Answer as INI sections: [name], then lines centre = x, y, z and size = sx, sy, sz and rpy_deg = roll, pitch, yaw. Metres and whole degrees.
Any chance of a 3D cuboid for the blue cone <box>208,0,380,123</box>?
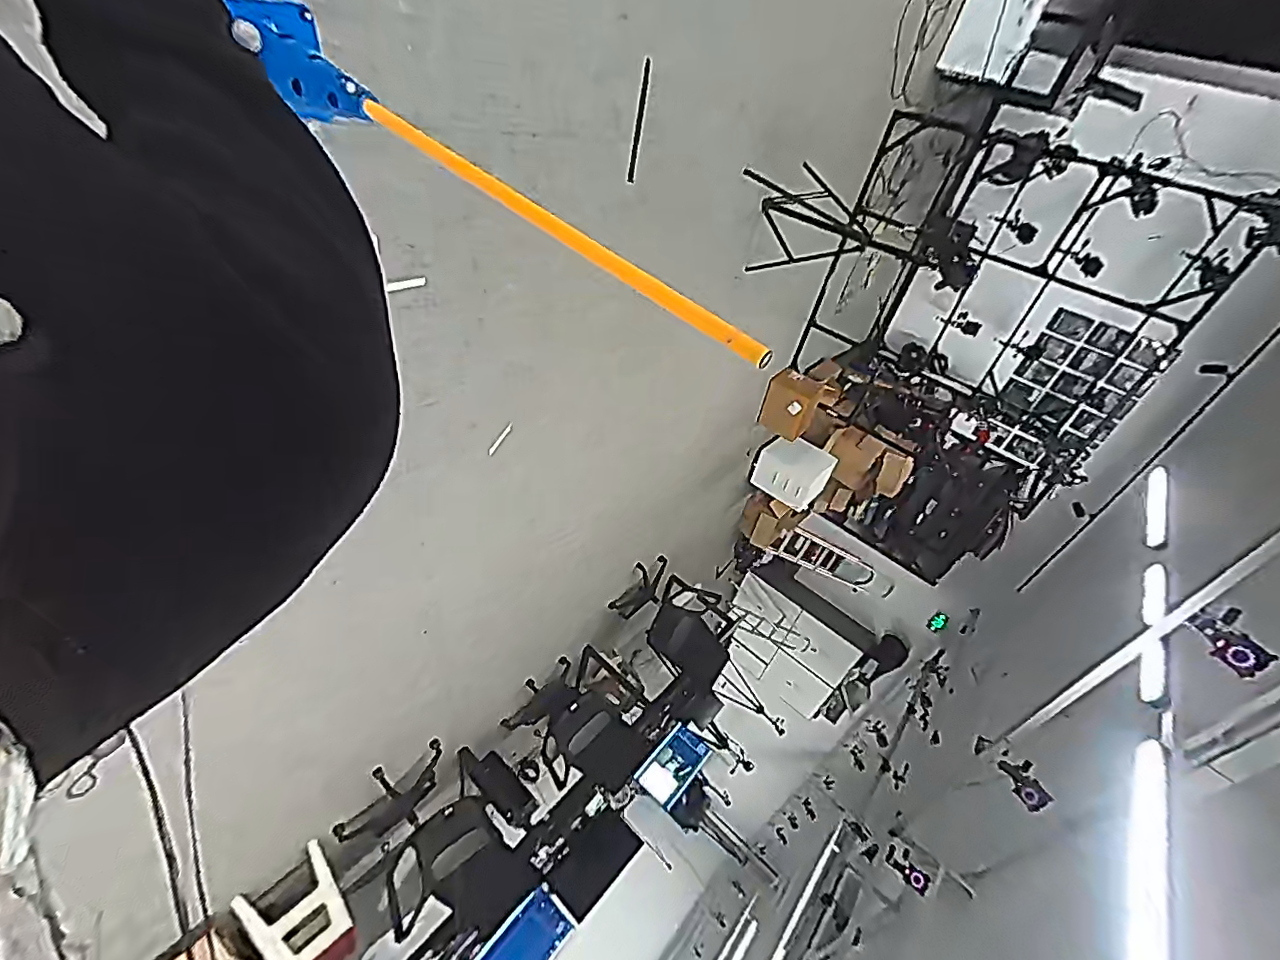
[blue cone]
centre = -0.597, -0.739, 1.001
size = 0.193, 0.380, 0.192
rpy_deg = -34, 147, -39
